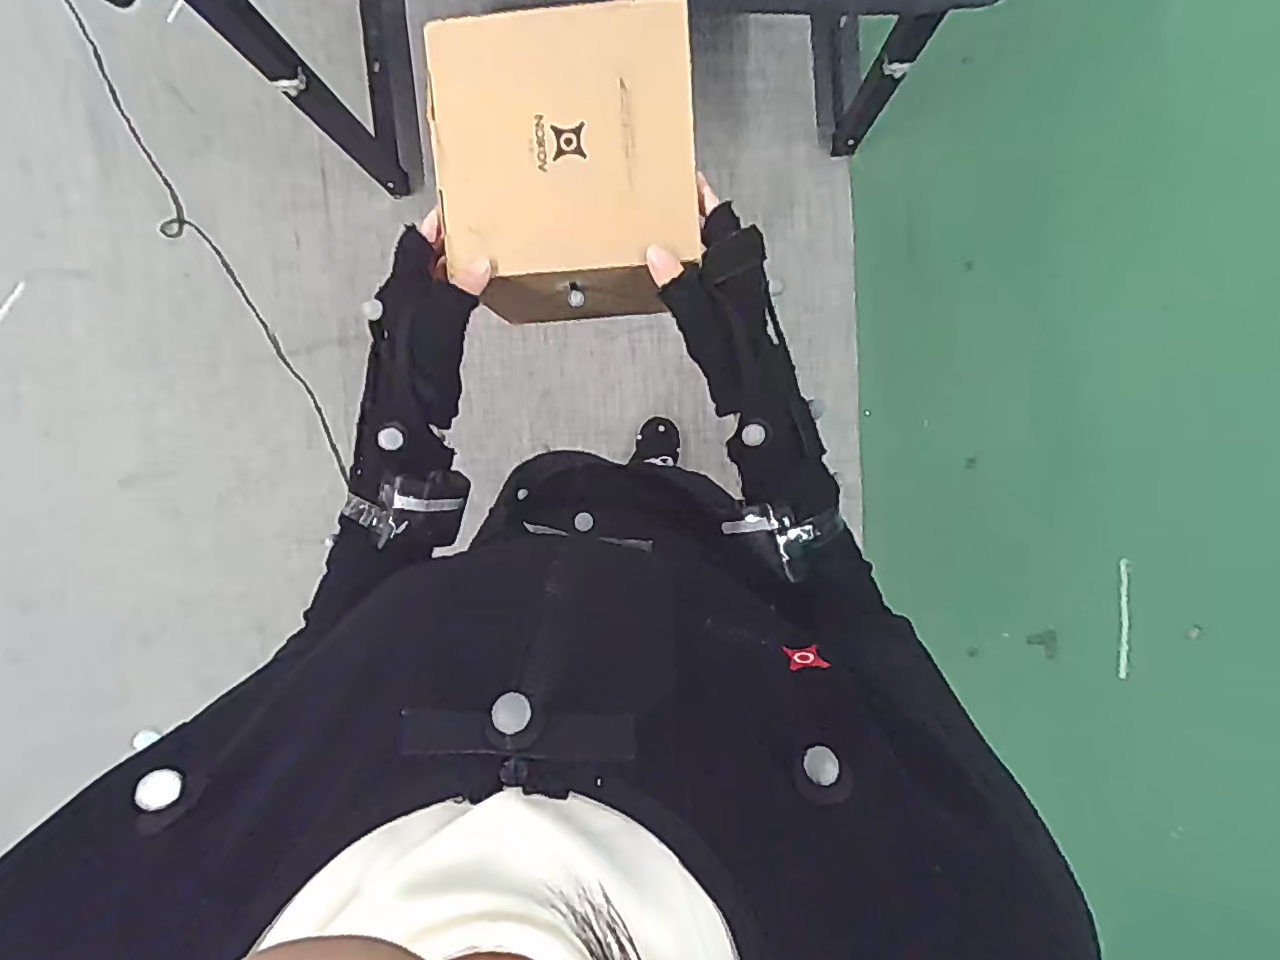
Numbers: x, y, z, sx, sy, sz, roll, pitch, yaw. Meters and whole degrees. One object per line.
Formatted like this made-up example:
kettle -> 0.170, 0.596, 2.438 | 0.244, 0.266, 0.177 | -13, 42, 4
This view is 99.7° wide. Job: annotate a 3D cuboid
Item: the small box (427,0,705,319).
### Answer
small box -> -0.045, -0.235, 0.439 | 0.179, 0.176, 0.168 | -5, 96, 2
